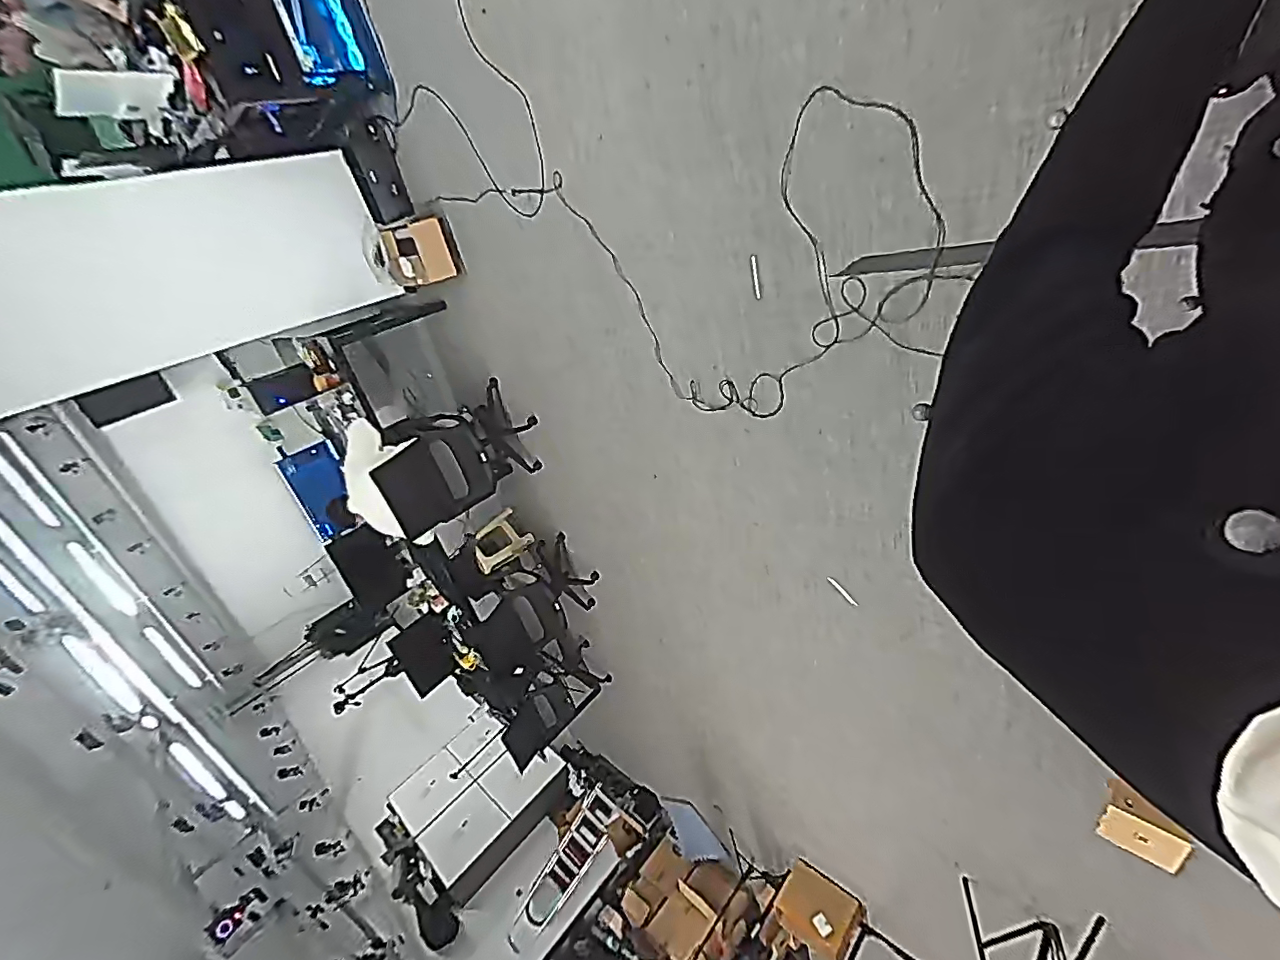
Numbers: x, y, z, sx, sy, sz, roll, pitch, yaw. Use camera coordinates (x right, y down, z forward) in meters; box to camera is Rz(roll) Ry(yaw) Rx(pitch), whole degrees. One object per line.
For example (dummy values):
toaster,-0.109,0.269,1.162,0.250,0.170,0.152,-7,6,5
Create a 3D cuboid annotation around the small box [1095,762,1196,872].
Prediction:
small box,1.458,0.963,1.558,0.179,0.176,0.168,18,133,41
